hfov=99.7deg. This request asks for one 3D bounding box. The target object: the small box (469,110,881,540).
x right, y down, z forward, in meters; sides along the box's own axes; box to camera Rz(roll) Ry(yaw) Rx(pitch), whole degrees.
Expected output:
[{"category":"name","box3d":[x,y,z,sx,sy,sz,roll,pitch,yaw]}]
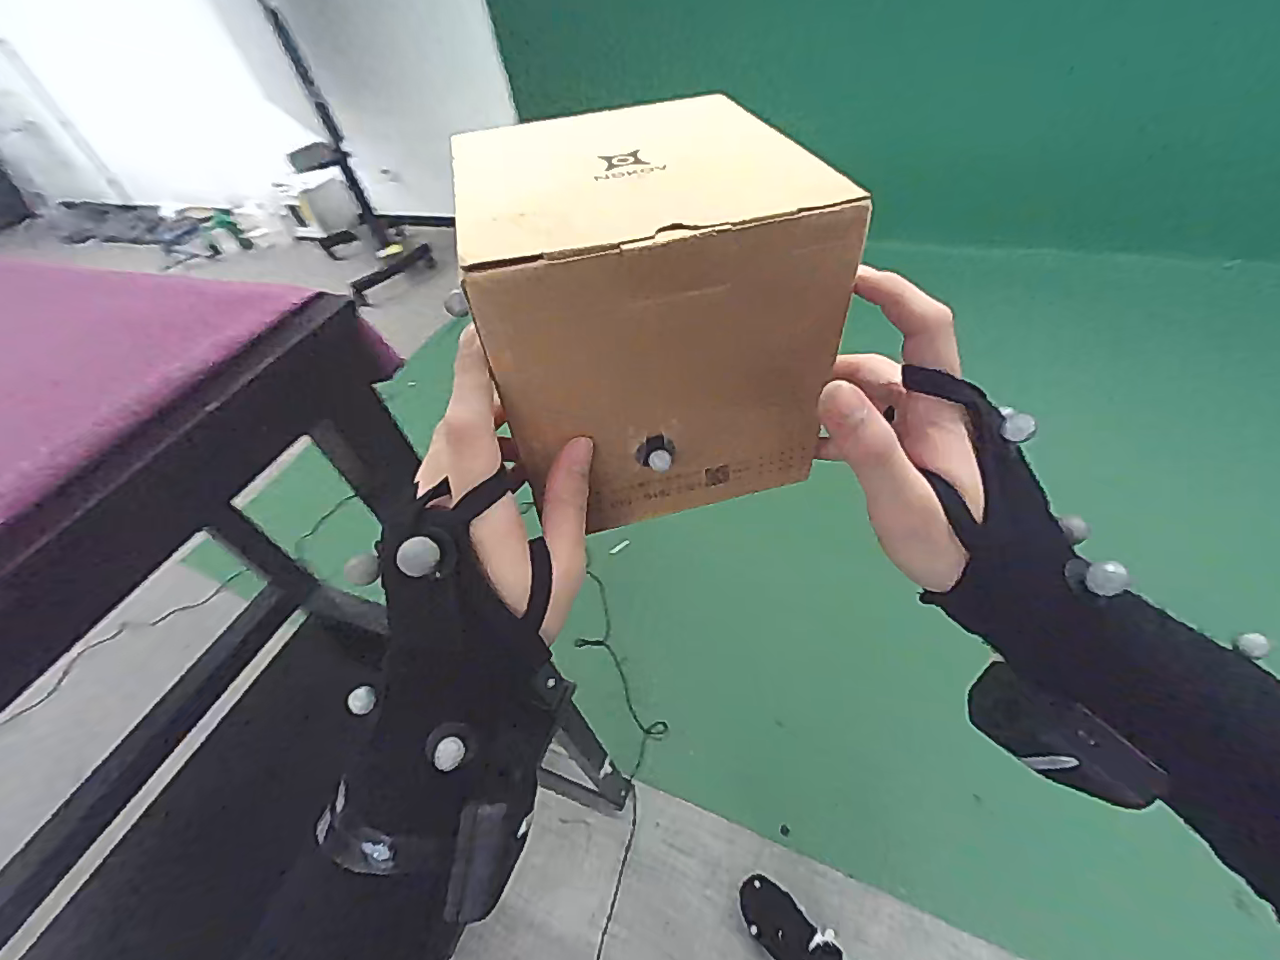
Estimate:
[{"category":"small box","box3d":[0.004,-0.093,0.322,0.168,0.176,0.179,-13,48,-7]}]
